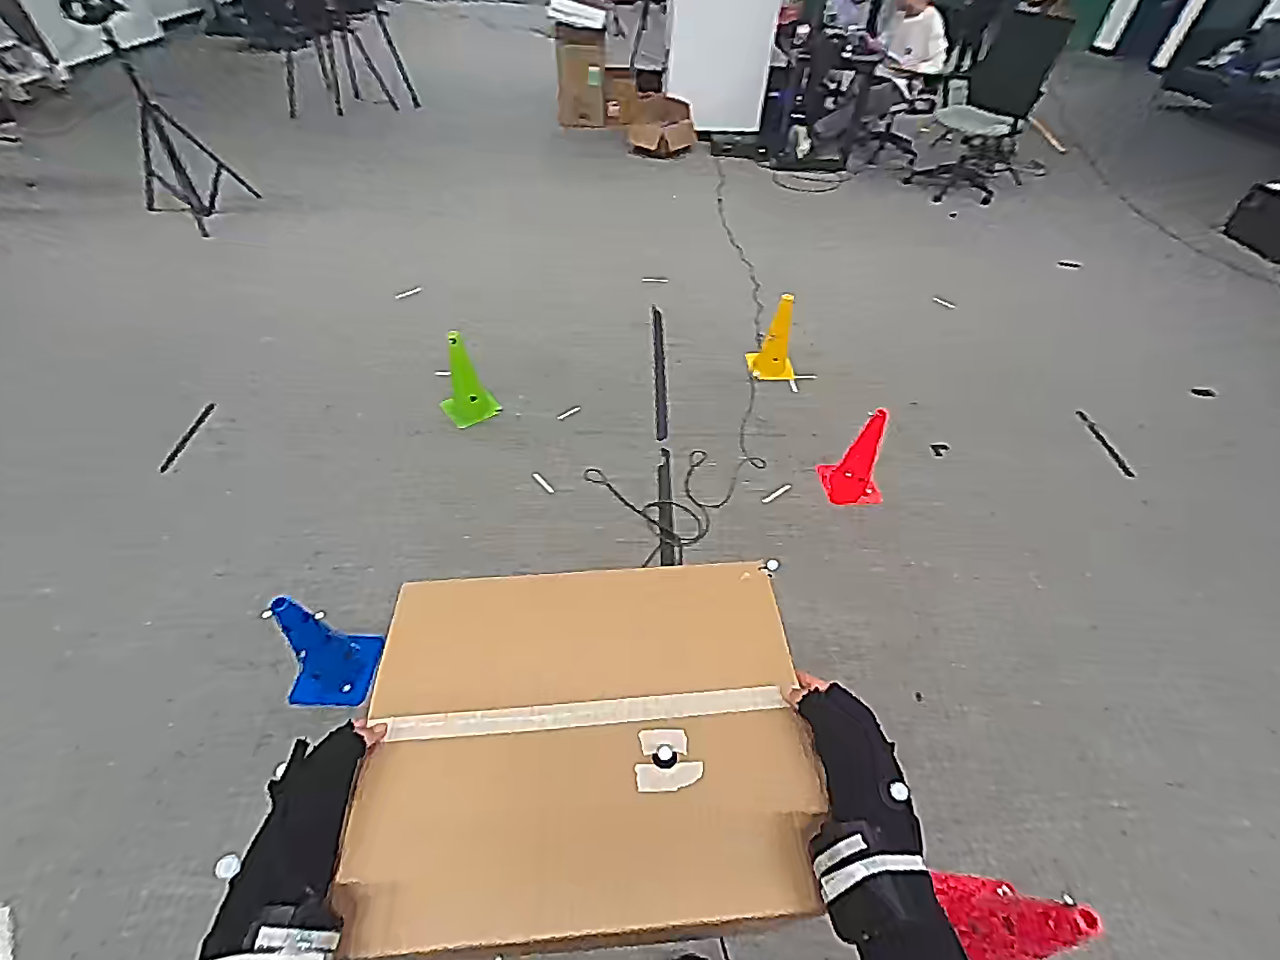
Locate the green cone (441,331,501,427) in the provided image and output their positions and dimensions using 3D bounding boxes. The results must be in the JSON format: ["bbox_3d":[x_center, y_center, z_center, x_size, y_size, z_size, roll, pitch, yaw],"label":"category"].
[{"bbox_3d":[-0.702,-0.424,2.126,0.202,0.368,0.200,-30,55,-25],"label":"green cone"}]

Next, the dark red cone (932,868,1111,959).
[{"bbox_3d":[0.733,0.835,1.012,0.201,0.394,0.202,4,47,3],"label":"dark red cone"}]

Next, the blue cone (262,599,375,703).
[{"bbox_3d":[-0.842,0.412,1.376,0.192,0.380,0.193,2,47,1],"label":"blue cone"}]

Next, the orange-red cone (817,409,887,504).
[{"bbox_3d":[0.786,-0.104,1.910,0.198,0.360,0.199,0,46,-4],"label":"orange-red cone"}]

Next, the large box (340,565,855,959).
[{"bbox_3d":[-0.042,0.320,0.619,0.408,0.320,0.320,-2,48,-3],"label":"large box"}]
